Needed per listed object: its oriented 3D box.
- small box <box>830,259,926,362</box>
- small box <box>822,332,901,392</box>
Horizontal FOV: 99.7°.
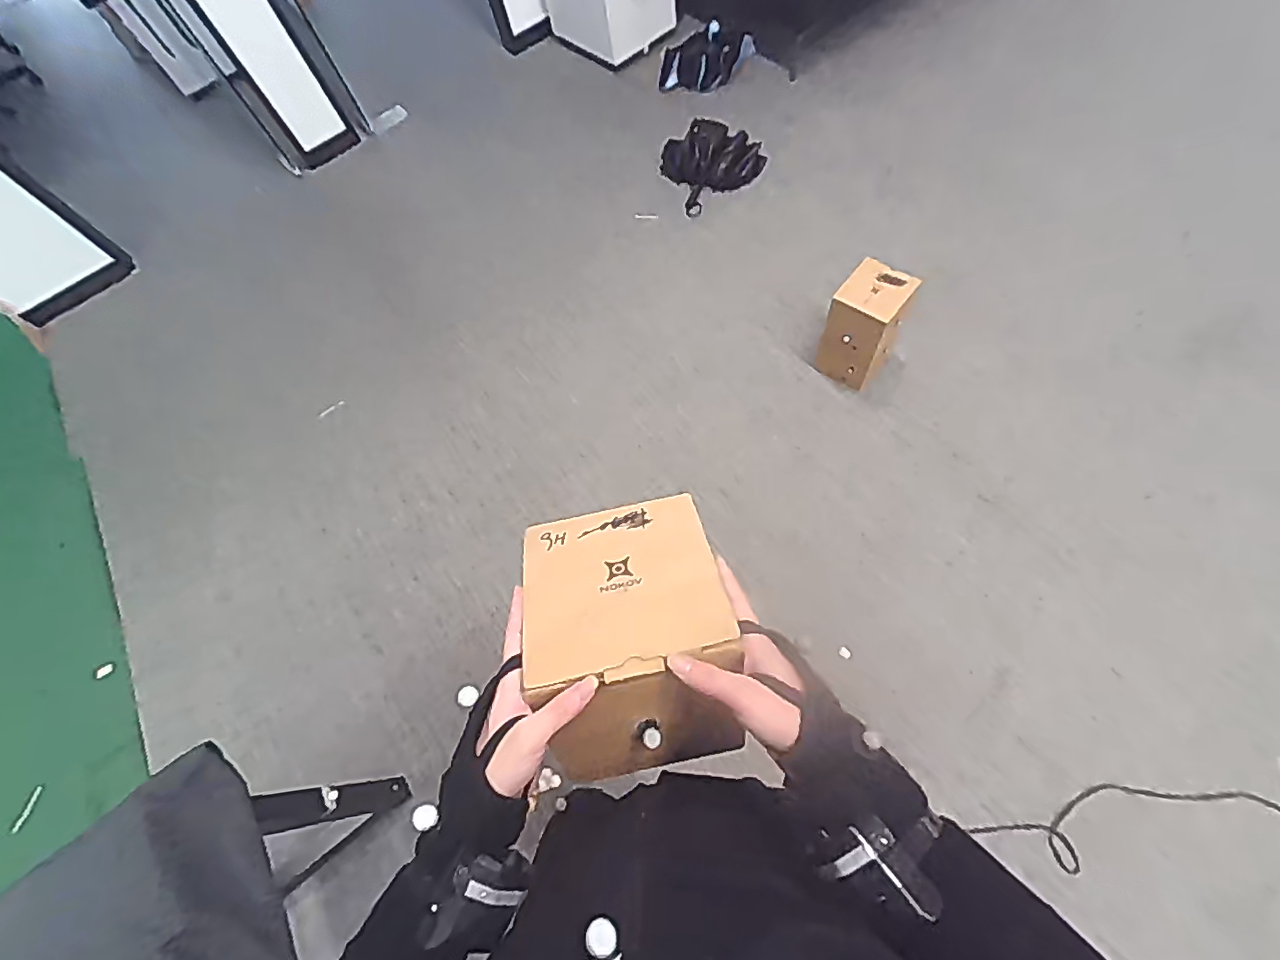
[{"bbox_3d":[0.653,-0.468,1.507,0.168,0.176,0.179,36,77,23],"label":"small box"},{"bbox_3d":[0.677,-0.404,1.657,0.168,0.176,0.179,35,74,22],"label":"small box"}]
